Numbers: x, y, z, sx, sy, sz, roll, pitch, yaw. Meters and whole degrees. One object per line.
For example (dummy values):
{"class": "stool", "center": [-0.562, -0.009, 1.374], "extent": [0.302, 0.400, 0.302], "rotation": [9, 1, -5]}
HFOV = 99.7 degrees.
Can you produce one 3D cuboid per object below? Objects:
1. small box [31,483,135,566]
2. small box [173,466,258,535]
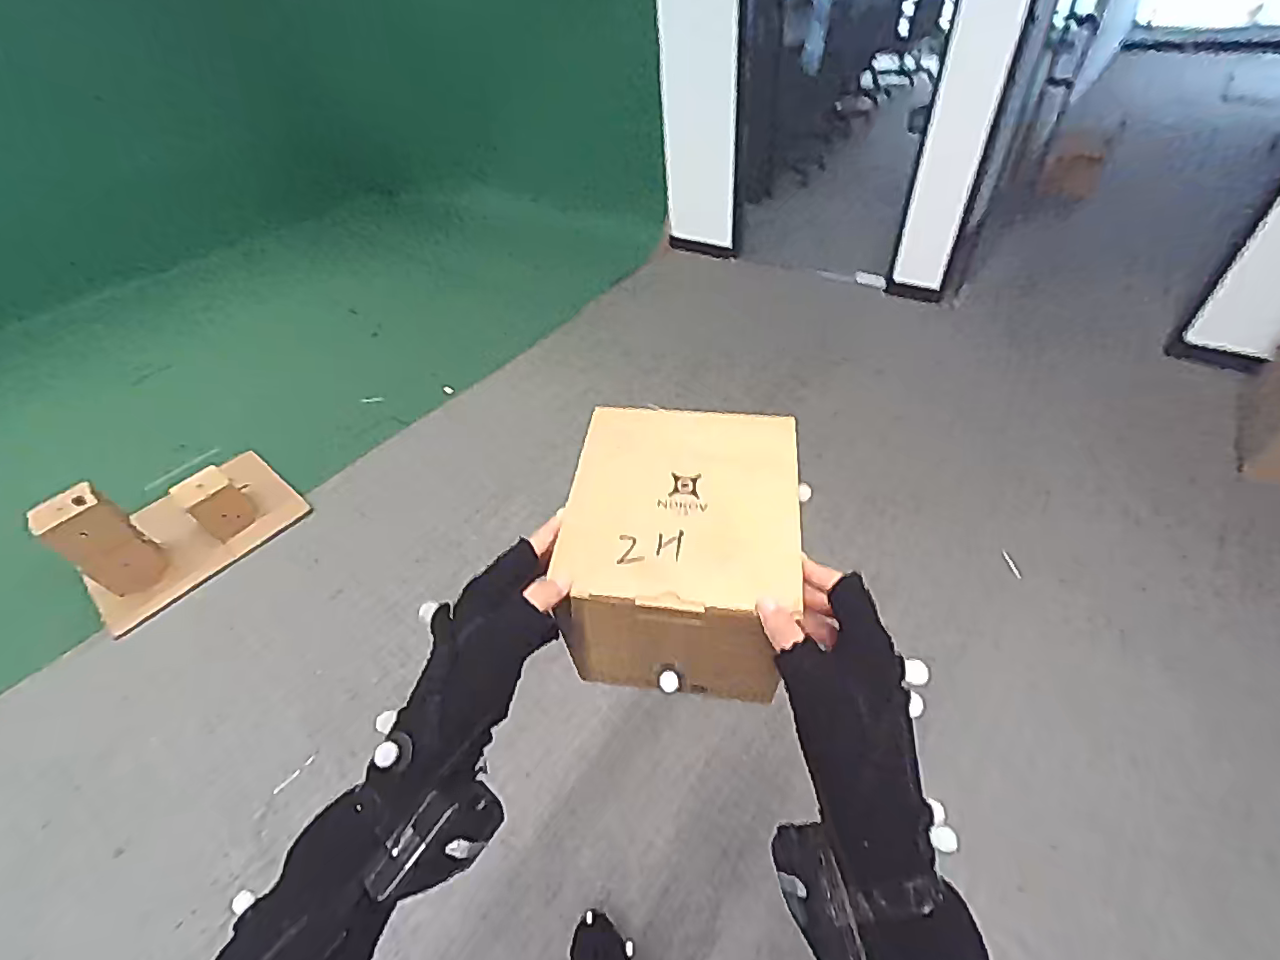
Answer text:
{"class": "small box", "center": [-1.839, 0.148, 1.797], "extent": [0.168, 0.176, 0.179], "rotation": [31, 59, 32]}
{"class": "small box", "center": [-1.620, 0.083, 2.068], "extent": [0.179, 0.176, 0.168], "rotation": [27, 55, 29]}
